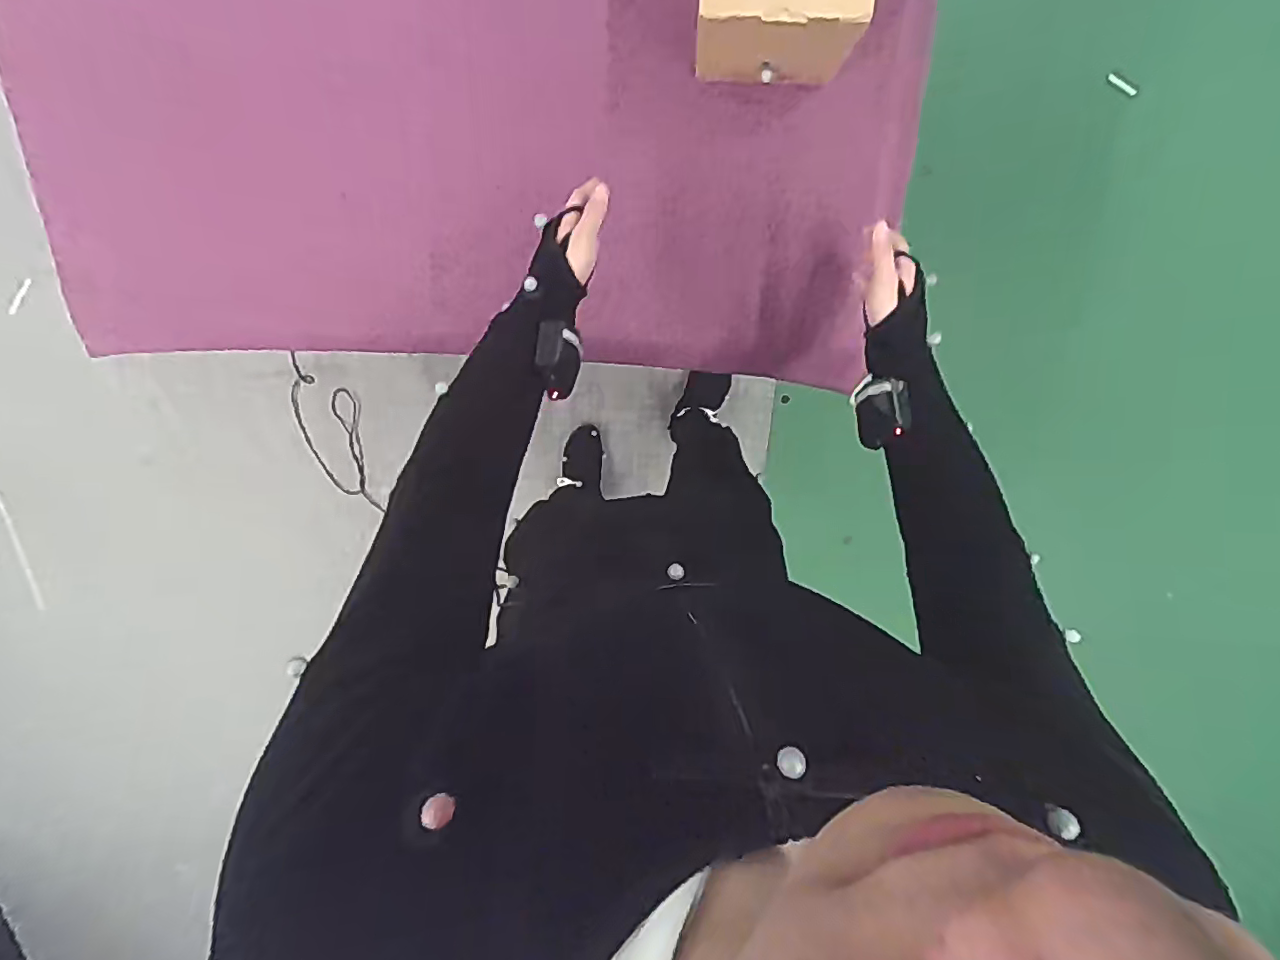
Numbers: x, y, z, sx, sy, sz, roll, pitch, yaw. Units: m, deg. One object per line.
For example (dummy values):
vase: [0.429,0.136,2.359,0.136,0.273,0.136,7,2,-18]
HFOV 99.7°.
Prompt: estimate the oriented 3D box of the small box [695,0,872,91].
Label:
small box: [0.147,-0.544,0.568,0.168,0.176,0.179,5,110,3]
